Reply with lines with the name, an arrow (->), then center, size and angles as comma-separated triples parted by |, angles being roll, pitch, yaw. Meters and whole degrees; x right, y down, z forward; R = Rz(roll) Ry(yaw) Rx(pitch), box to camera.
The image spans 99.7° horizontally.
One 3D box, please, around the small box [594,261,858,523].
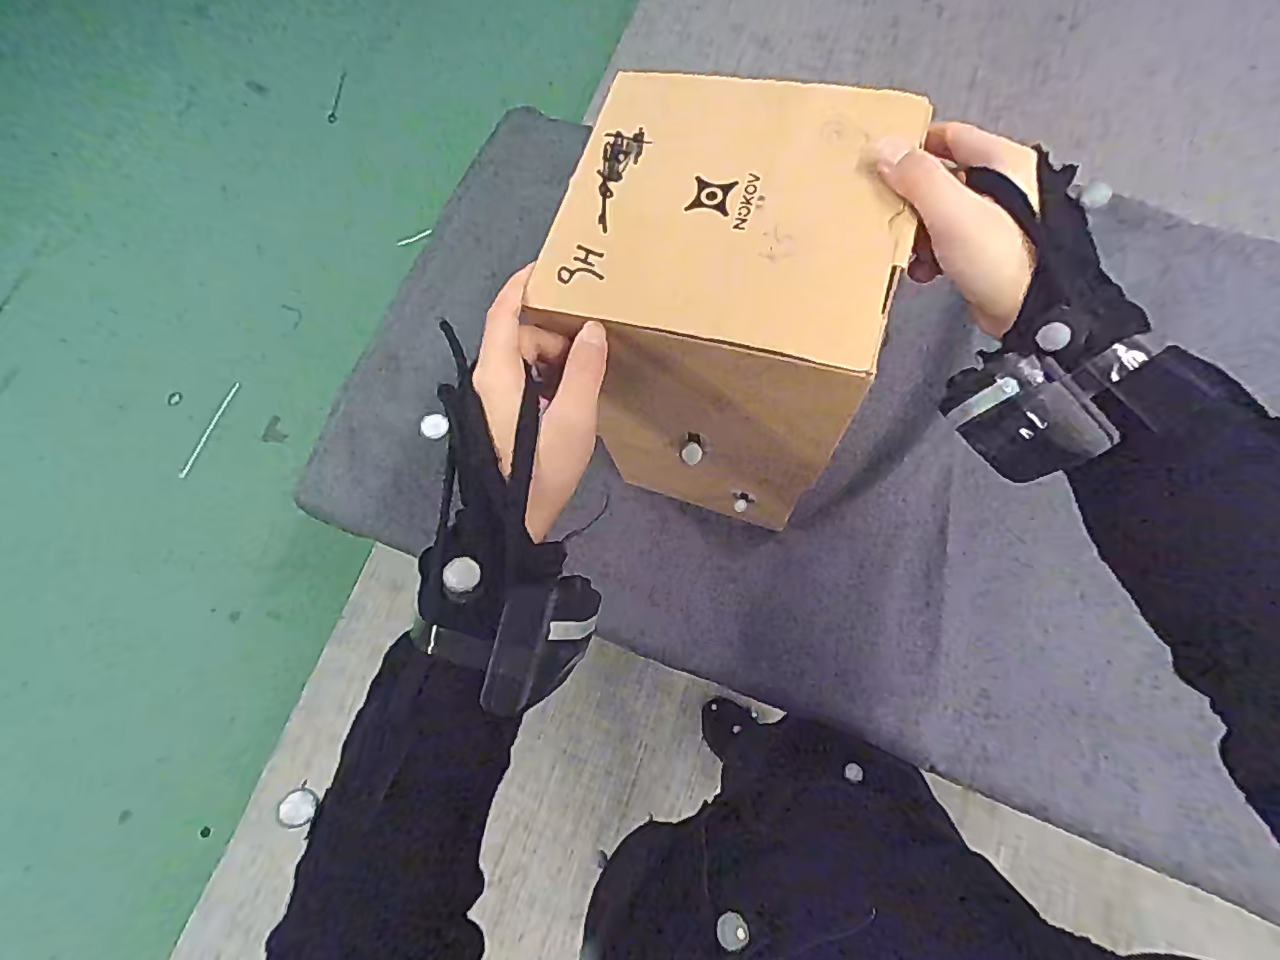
small box -> 0.080, -0.071, 0.513 | 0.179, 0.176, 0.168 | 17, 74, 14
